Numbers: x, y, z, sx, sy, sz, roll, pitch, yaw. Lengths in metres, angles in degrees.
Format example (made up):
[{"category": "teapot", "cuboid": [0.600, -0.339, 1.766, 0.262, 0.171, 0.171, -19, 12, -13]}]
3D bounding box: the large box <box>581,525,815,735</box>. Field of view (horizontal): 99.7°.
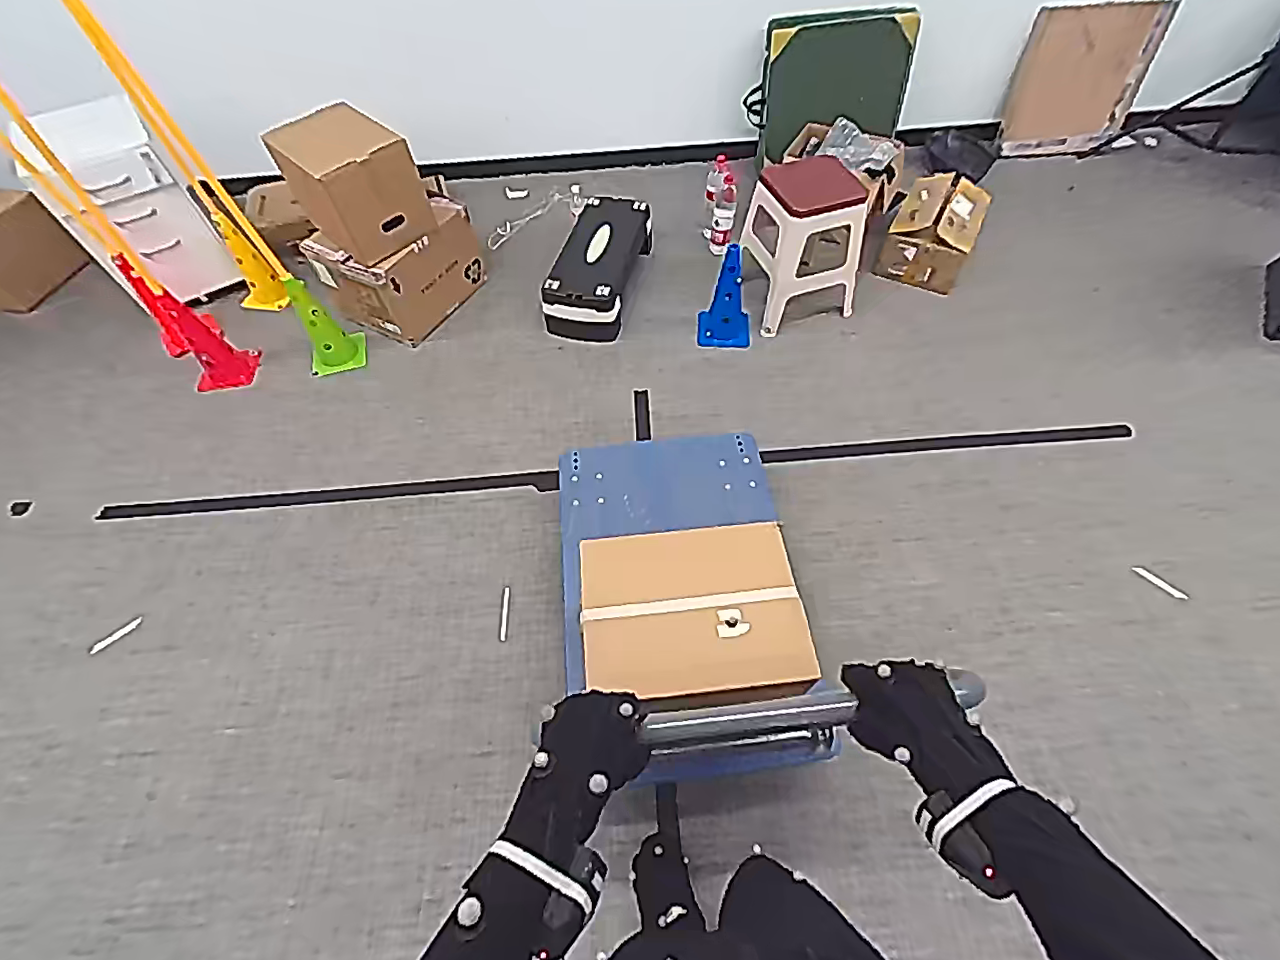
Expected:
[{"category": "large box", "cuboid": [0.096, 0.324, 1.143, 0.408, 0.320, 0.320, -6, 56, -3]}]
